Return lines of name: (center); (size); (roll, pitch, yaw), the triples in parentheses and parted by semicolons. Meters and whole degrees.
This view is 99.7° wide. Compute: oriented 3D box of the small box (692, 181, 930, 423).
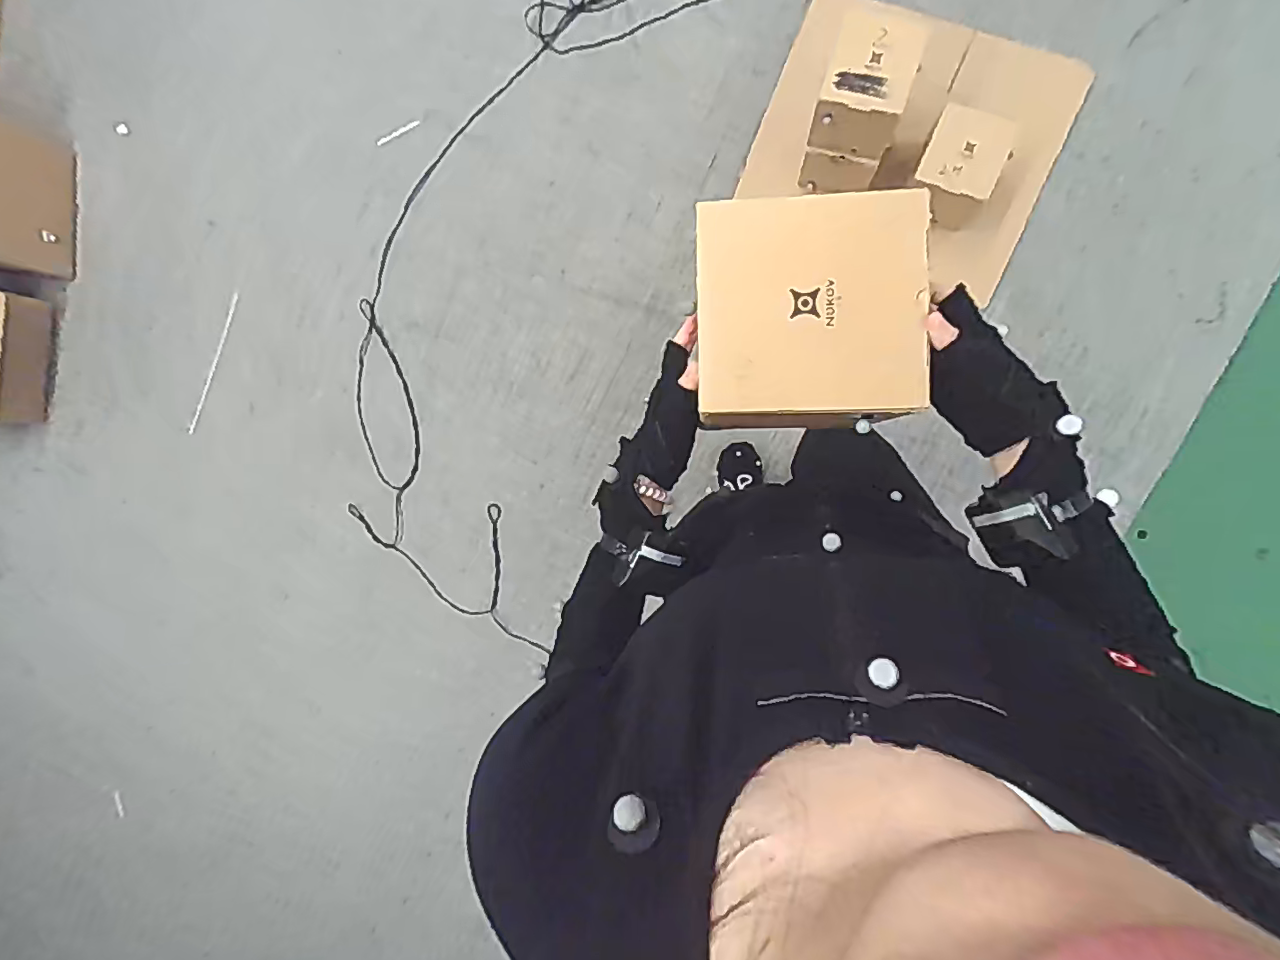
small box: (0.136, -0.141, 0.488); (0.179, 0.176, 0.168); (-1, 92, 5)

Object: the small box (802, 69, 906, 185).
small box: (0.494, -0.813, 1.279); (0.168, 0.176, 0.179); (19, 96, 8)

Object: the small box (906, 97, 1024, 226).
small box: (0.727, -0.724, 1.248); (0.168, 0.176, 0.179); (23, 97, 9)
